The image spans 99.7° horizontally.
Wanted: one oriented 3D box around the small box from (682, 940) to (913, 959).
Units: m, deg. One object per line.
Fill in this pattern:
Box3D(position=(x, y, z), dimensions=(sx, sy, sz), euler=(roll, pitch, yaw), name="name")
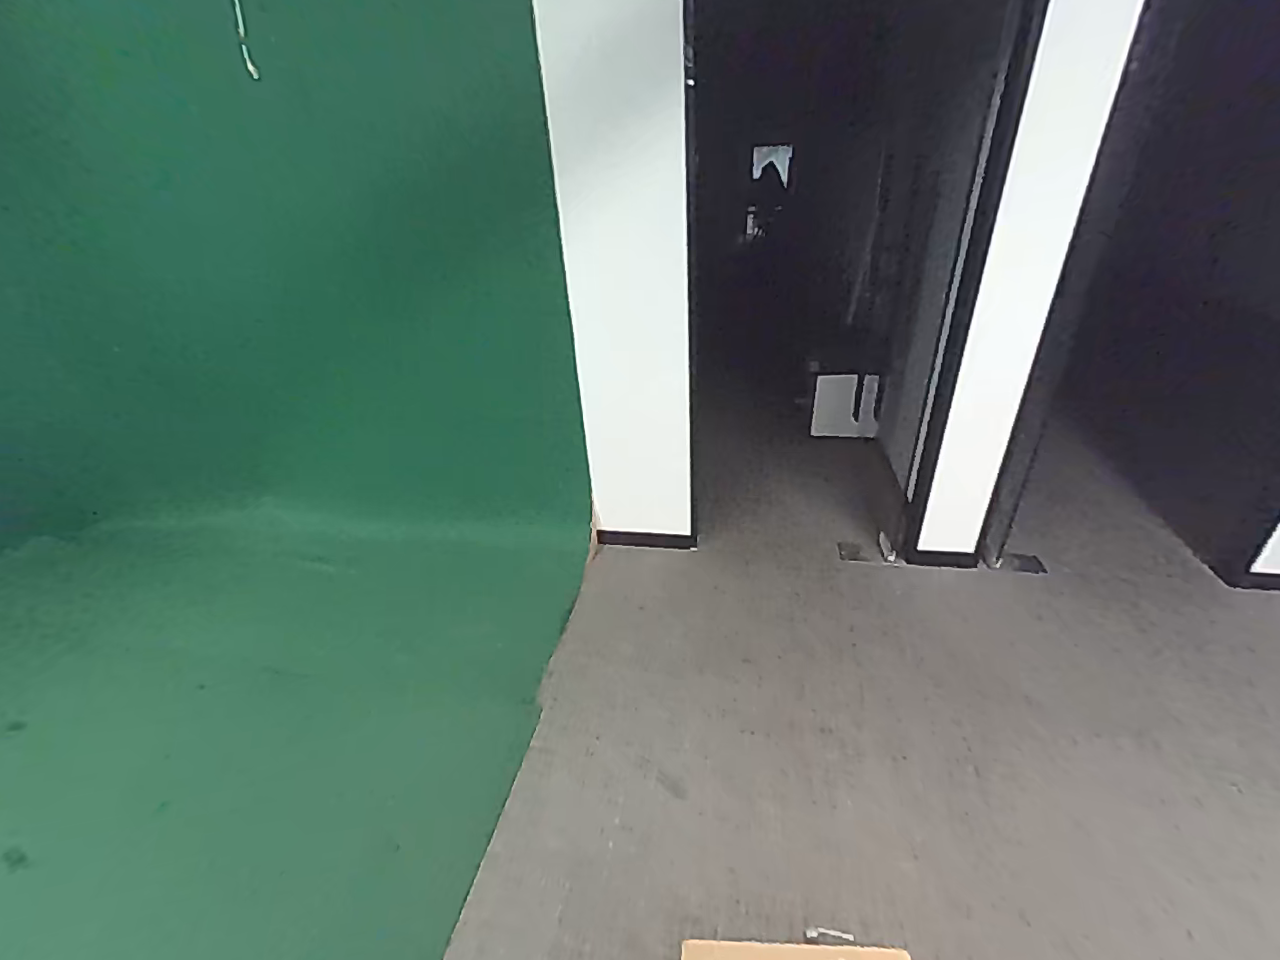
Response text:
Box3D(position=(0.115, 0.453, 0.382), dimensions=(0.168, 0.176, 0.179), euler=(-1, 42, 4), name="small box")
